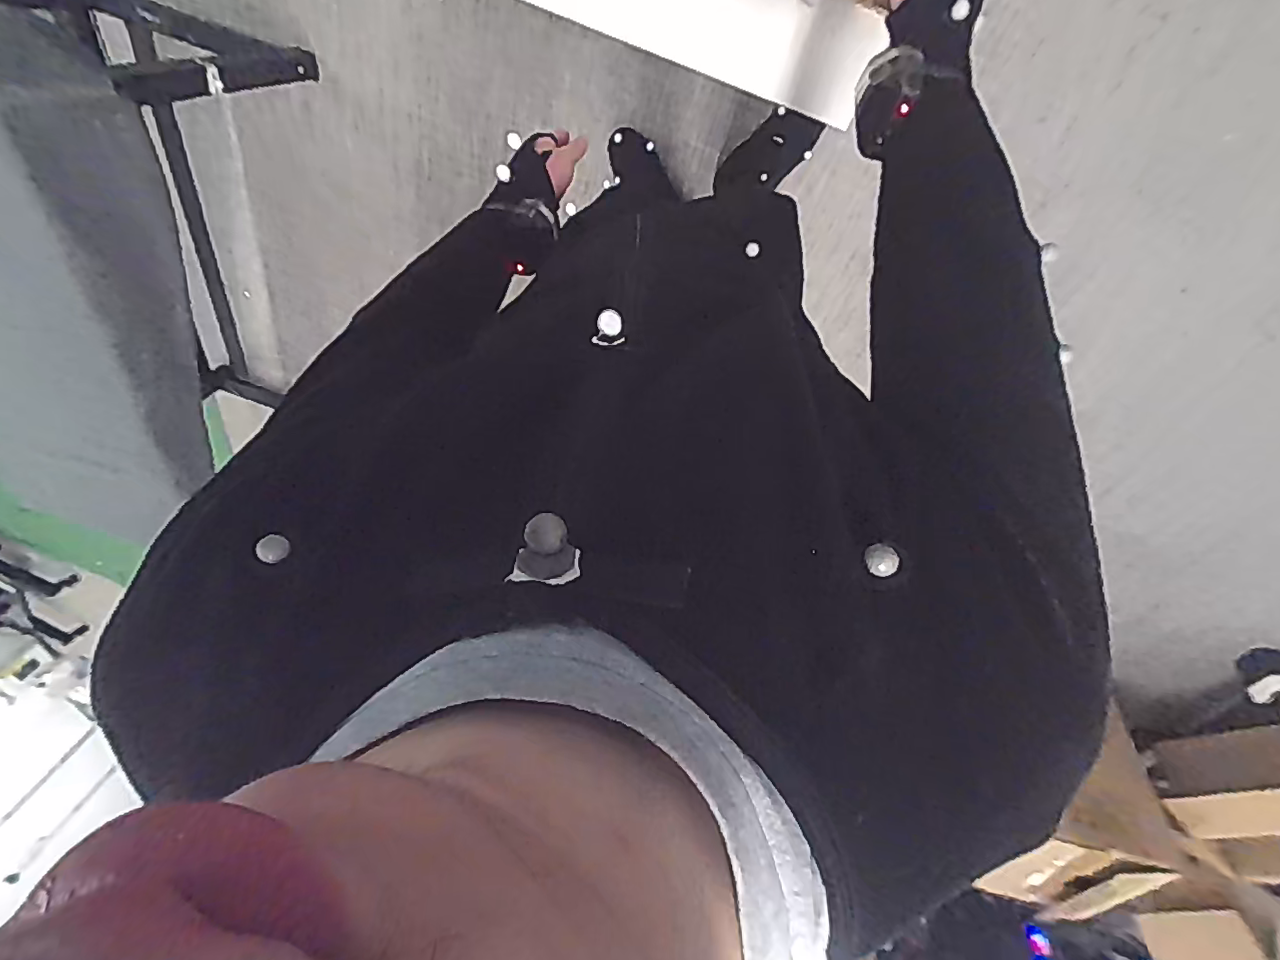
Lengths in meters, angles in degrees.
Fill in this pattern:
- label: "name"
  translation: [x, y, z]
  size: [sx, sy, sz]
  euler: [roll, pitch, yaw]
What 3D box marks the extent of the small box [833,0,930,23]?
- label: "small box"
  translation: [0.207, -0.544, 0.481]
  size: [0.179, 0.176, 0.168]
  euler: [21, 131, -3]
